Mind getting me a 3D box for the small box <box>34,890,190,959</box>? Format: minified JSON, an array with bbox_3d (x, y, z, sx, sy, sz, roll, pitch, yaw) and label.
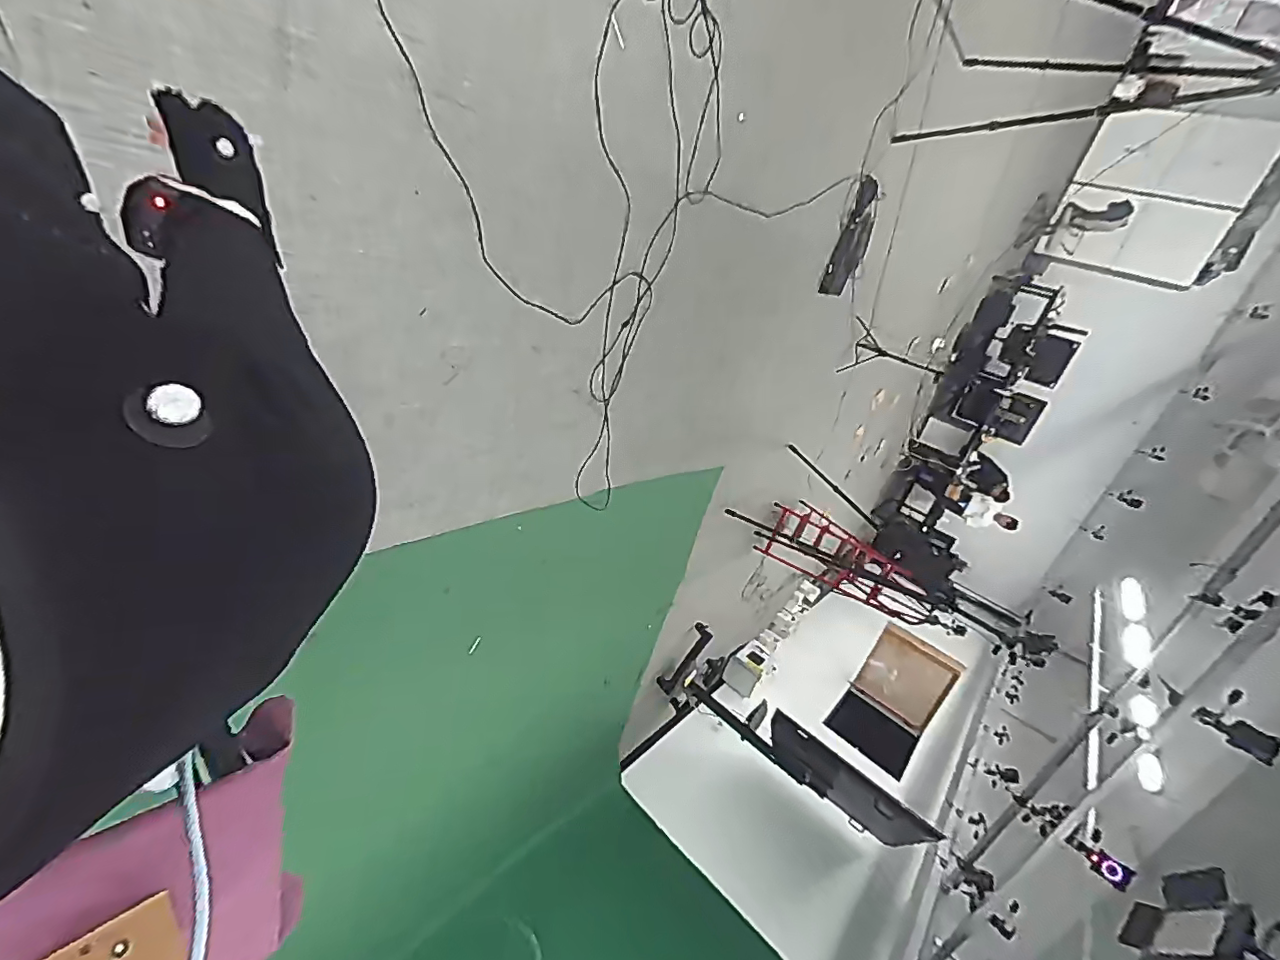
[{"bbox_3d":[-0.841,0.826,0.876,0.168,0.176,0.179,-16,130,-47],"label":"small box"}]
